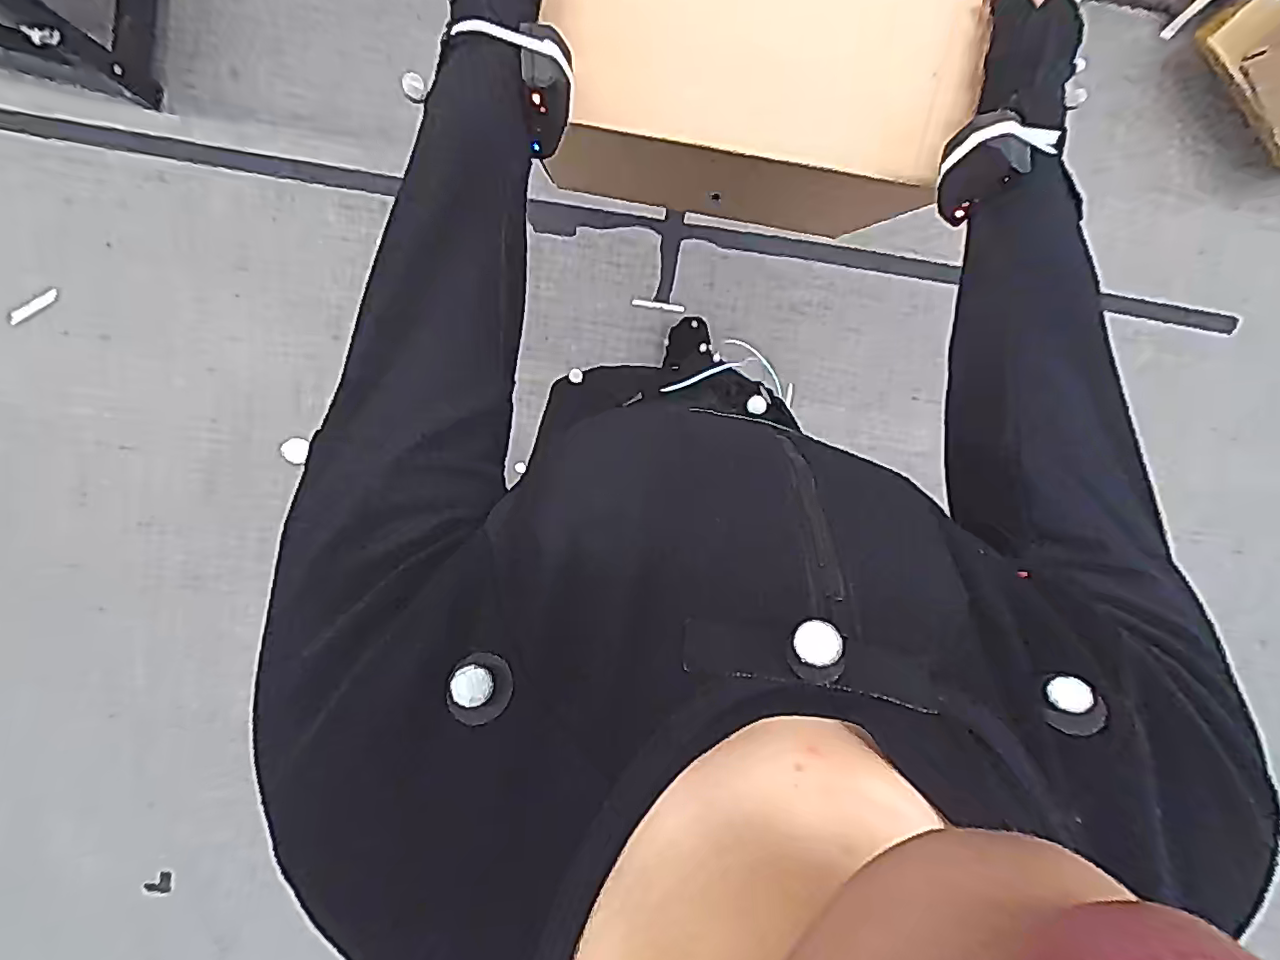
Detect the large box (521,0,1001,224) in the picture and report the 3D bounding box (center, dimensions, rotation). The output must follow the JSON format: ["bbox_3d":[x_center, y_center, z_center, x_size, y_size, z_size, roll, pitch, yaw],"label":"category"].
[{"bbox_3d":[0.110,-0.486,0.580,0.408,0.320,0.320,8,106,-4],"label":"large box"}]
